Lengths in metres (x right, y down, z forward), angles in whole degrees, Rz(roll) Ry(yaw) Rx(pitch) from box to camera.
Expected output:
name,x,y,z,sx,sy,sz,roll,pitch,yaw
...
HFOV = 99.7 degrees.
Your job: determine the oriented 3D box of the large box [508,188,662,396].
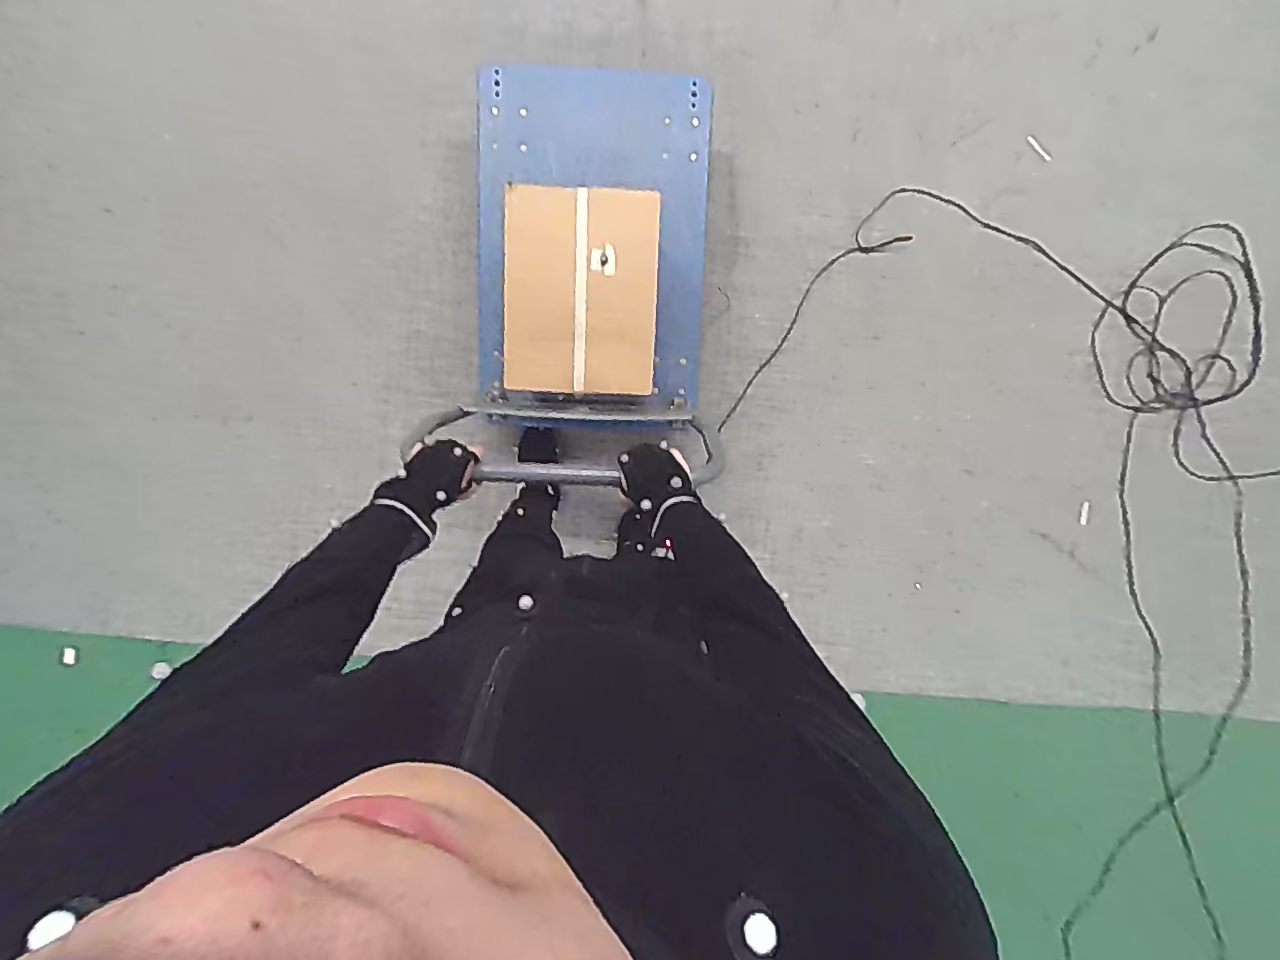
name,x,y,z,sx,sy,sz,roll,pitch,yaw
large box,-0.115,-0.401,1.250,0.320,0.320,0.408,2,99,-2
